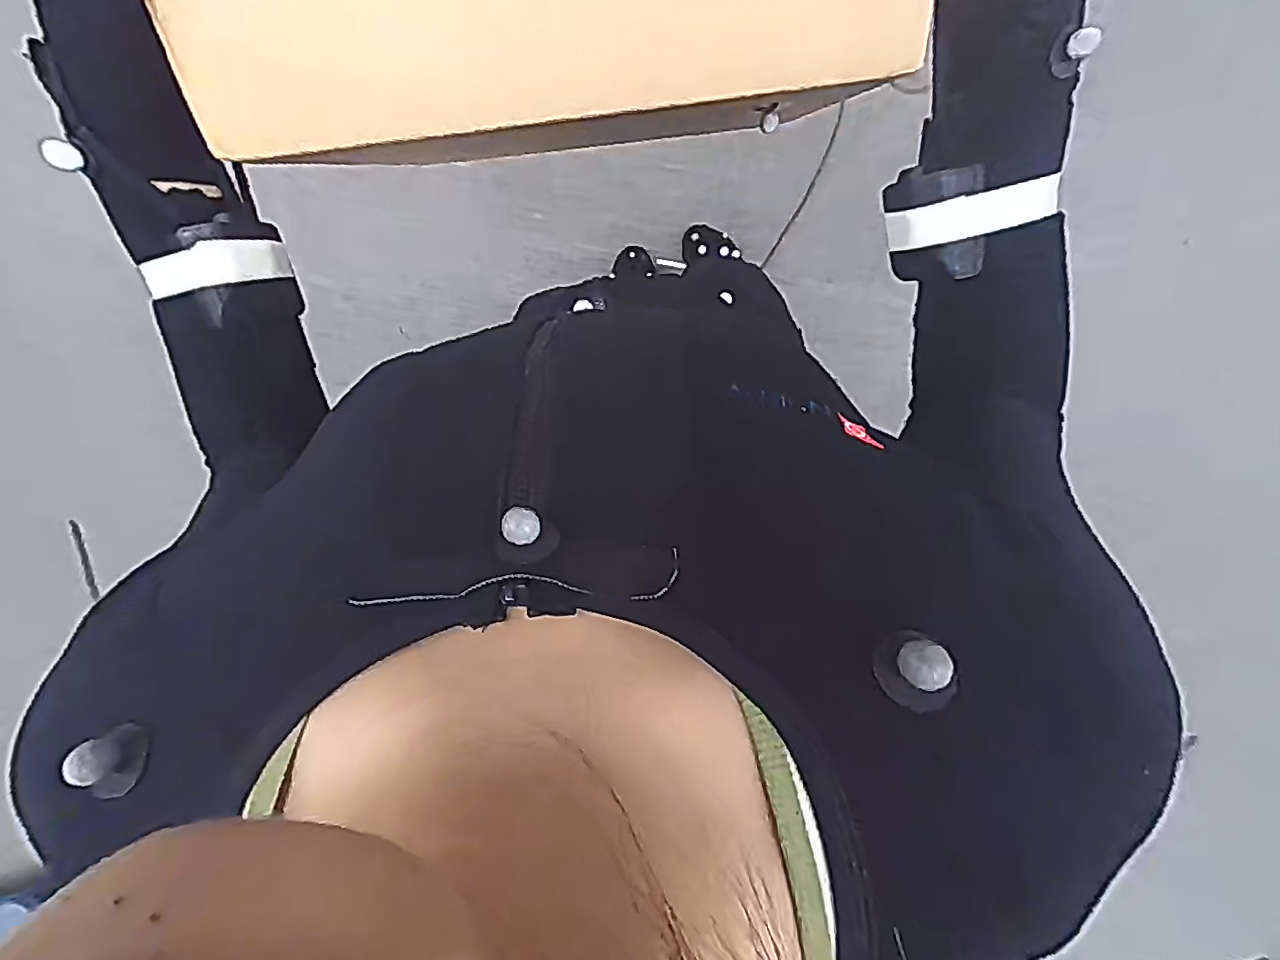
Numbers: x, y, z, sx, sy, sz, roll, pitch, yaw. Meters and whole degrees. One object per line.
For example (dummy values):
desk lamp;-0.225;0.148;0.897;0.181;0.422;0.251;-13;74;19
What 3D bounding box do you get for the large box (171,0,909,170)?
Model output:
large box;-0.062;-0.418;0.372;0.408;0.320;0.320;-5;119;5
